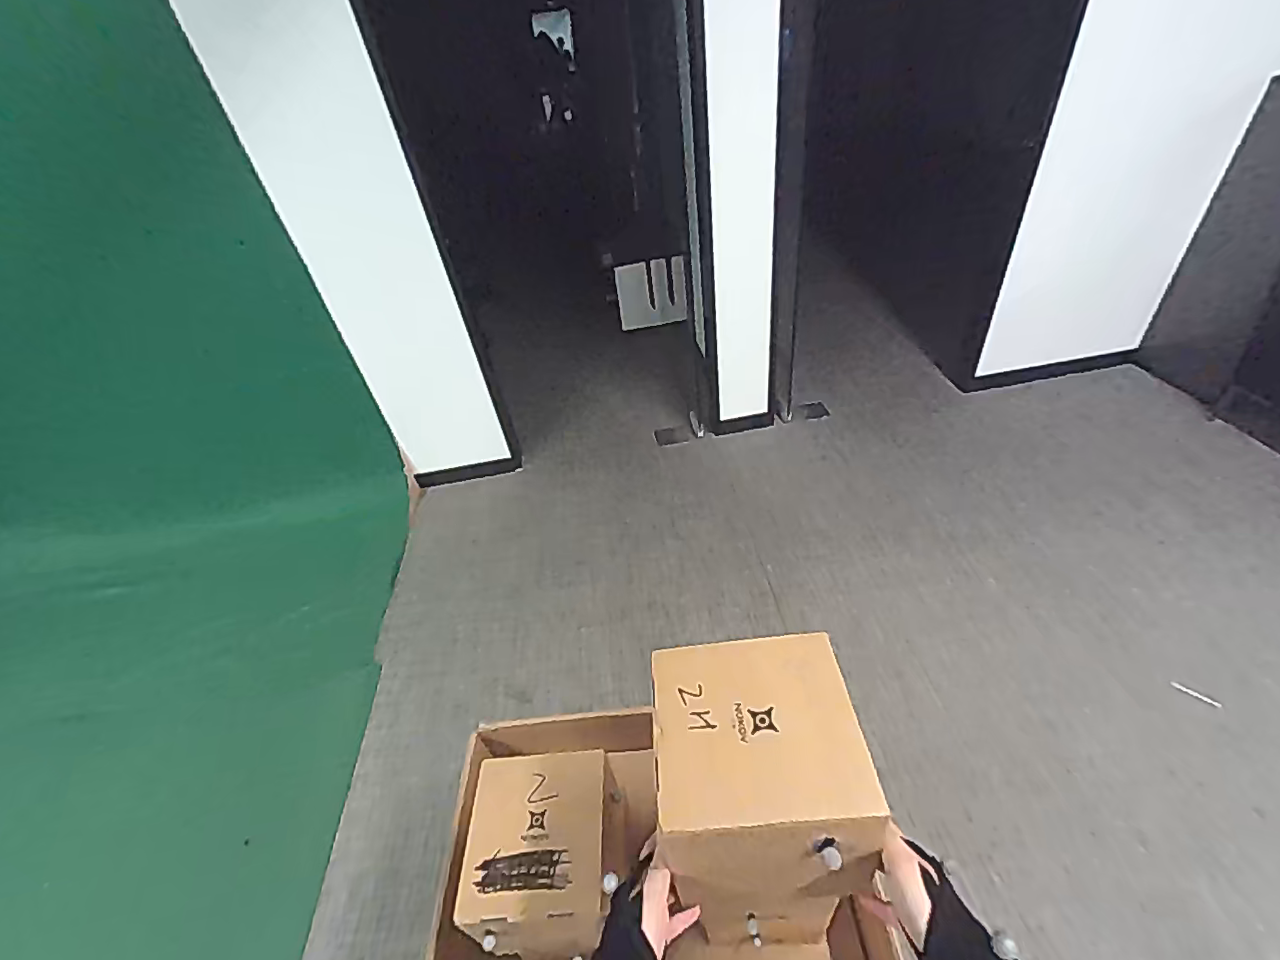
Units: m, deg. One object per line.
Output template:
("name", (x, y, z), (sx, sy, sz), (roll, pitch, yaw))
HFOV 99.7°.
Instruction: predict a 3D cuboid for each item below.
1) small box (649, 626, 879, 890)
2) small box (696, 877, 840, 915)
("small box", (0.107, 0.267, 0.522), (0.179, 0.176, 0.168), (-9, 36, 6))
("small box", (0.146, 0.436, 0.701), (0.168, 0.176, 0.179), (-7, 42, 6))
